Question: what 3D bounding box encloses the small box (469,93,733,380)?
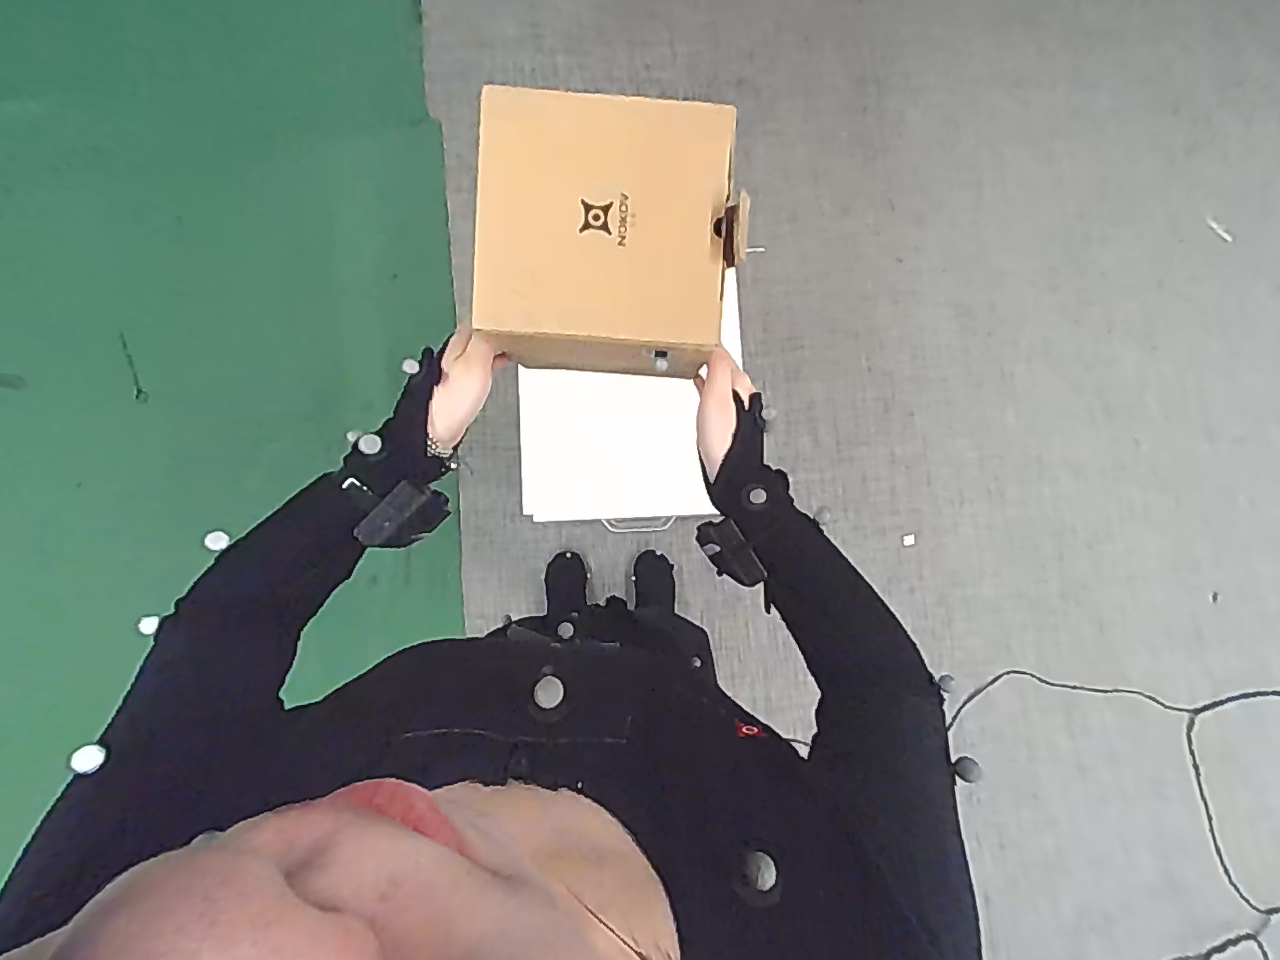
[{"bbox_3d":[-0.029,-0.181,0.455,0.179,0.176,0.168,3,92,-3],"label":"small box"}]
